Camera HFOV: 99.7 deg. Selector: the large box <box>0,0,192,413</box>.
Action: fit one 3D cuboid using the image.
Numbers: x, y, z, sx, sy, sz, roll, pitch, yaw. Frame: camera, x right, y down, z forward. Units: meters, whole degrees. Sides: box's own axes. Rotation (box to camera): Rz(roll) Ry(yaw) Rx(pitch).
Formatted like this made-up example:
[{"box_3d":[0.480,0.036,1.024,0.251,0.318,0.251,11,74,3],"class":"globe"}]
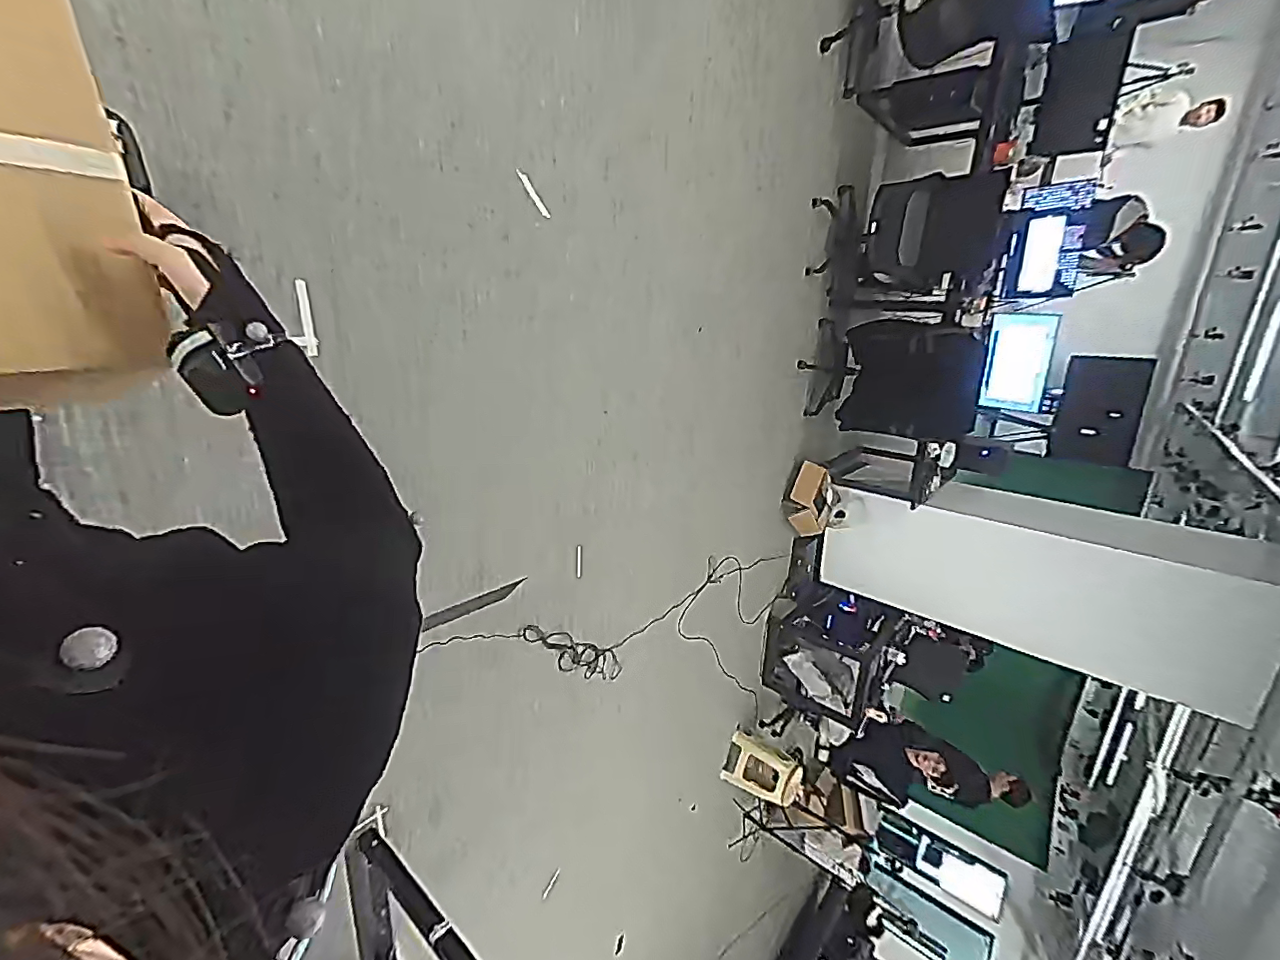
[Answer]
[{"box_3d":[-0.646,-0.195,0.392,0.408,0.320,0.320,-21,105,-47],"class":"large box"}]
